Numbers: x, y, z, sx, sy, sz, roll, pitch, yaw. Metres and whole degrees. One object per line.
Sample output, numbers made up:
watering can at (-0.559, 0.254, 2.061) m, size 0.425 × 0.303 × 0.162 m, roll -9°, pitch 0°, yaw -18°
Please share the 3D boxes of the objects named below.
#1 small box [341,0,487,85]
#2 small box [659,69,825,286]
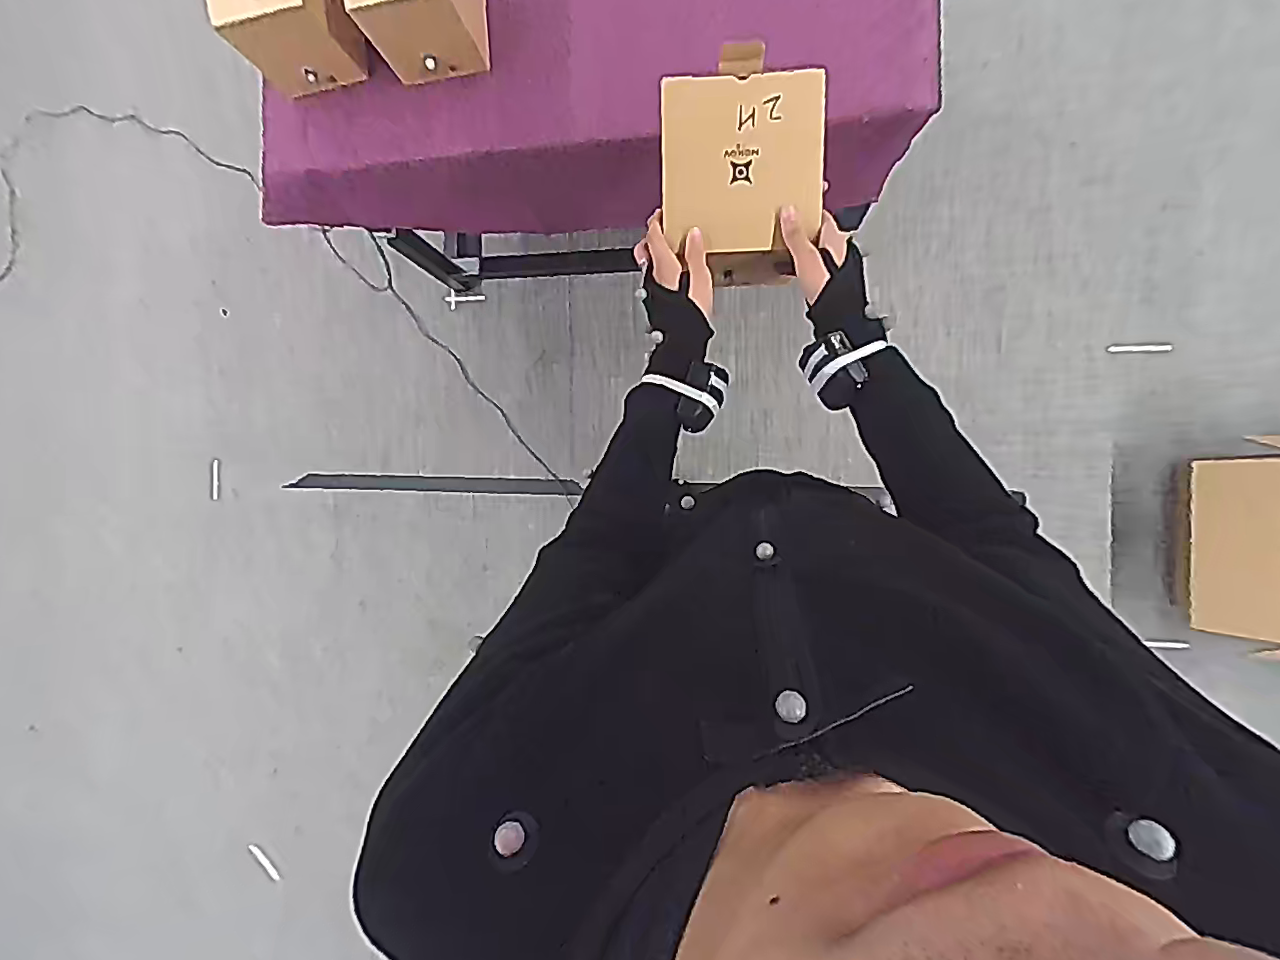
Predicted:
small box at (-0.365, -0.802, 0.887) m, size 0.168 × 0.176 × 0.179 m, roll -4°, pitch 90°, yaw 8°
small box at (0.108, -0.328, 0.626) m, size 0.168 × 0.176 × 0.179 m, roll 0°, pitch 97°, yaw 4°
